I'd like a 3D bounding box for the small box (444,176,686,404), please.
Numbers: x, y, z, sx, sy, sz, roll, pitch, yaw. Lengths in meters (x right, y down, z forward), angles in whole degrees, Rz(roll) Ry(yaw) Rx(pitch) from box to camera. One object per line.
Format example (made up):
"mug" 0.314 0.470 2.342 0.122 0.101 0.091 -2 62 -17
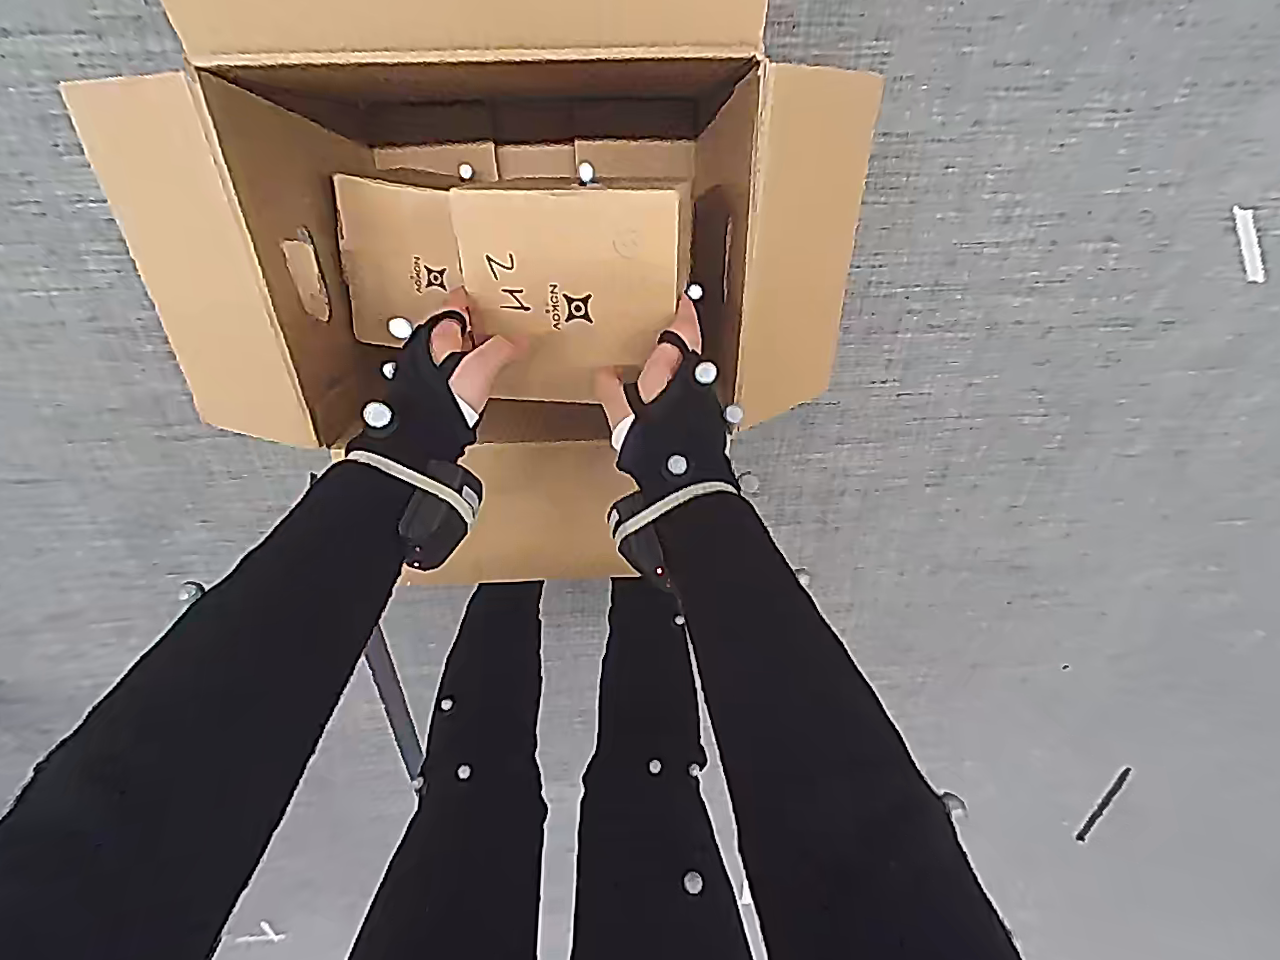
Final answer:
"small box" -0.050 -0.182 0.501 0.179 0.176 0.168 3 122 8
